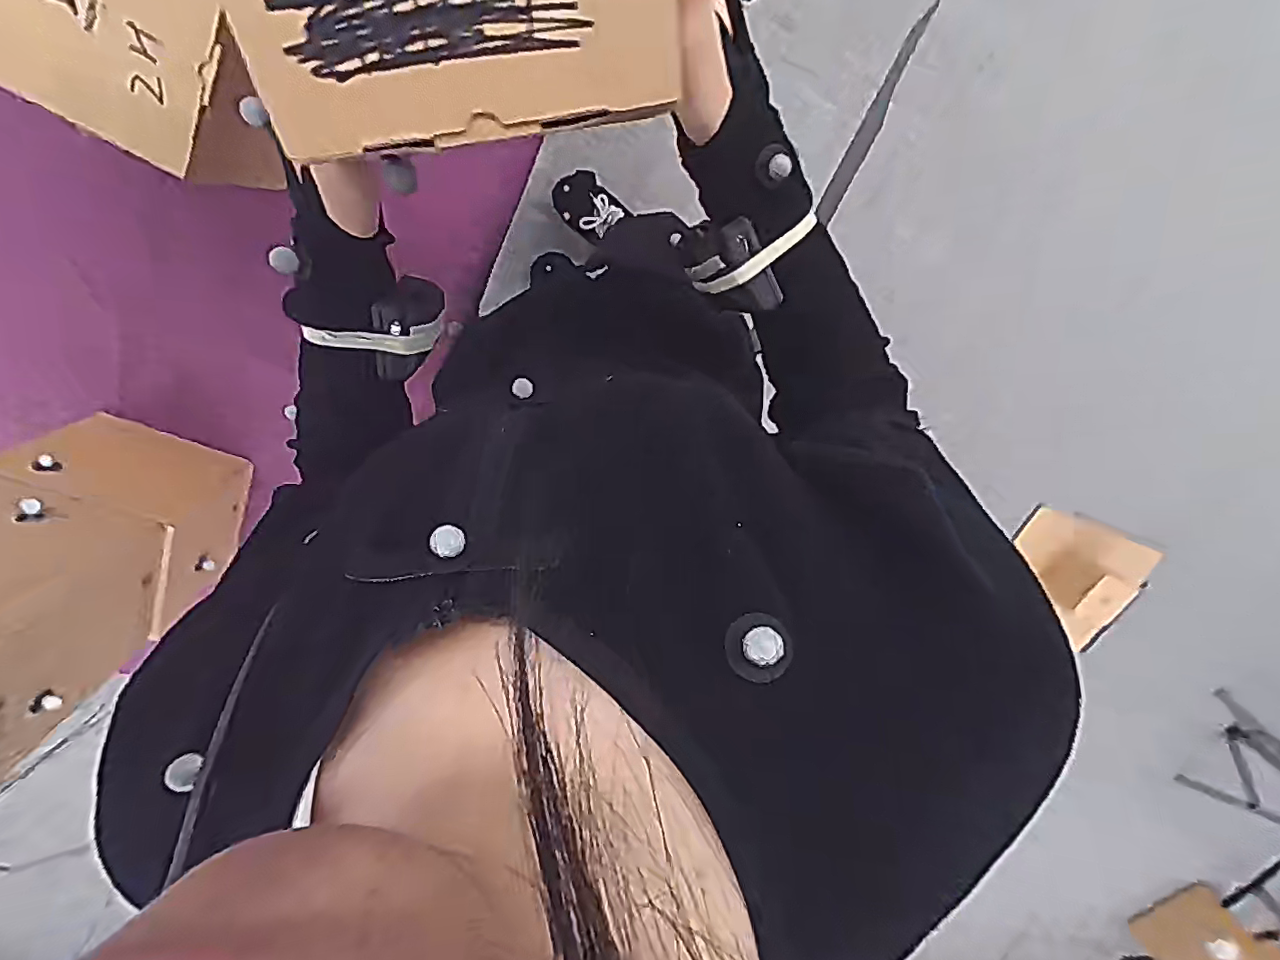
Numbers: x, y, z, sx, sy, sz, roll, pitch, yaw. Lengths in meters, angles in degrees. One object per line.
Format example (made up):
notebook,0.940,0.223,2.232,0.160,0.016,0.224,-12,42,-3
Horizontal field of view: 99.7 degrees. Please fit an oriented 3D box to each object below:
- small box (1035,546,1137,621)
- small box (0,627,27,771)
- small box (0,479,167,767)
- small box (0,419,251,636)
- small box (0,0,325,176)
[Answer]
small box,1.520,0.349,1.856,0.179,0.176,0.168,19,113,-16
small box,-0.567,0.184,0.339,0.179,0.176,0.168,21,111,-16
small box,-0.589,0.116,0.488,0.179,0.176,0.168,21,112,-15
small box,-0.601,0.048,0.636,0.179,0.176,0.168,21,111,-16
small box,-0.408,-0.380,0.453,0.179,0.176,0.168,25,111,-18
